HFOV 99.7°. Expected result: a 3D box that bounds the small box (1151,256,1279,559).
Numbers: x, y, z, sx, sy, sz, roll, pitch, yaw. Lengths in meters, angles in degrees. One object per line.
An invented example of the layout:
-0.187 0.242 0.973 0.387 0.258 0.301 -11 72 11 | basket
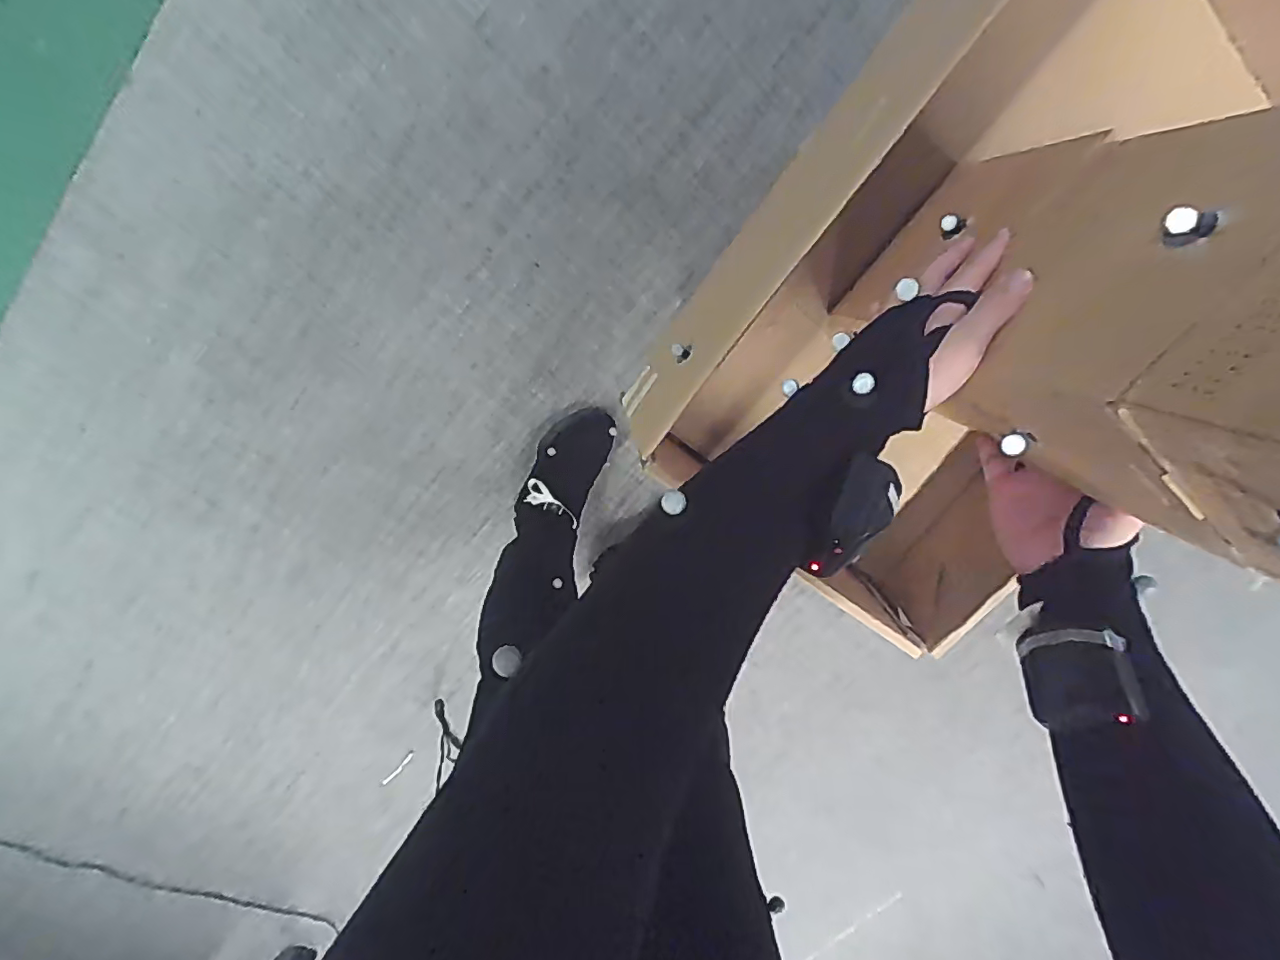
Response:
0.352 -0.032 0.183 0.168 0.176 0.179 34 105 -19 | small box

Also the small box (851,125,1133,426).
0.318 -0.162 0.482 0.168 0.176 0.179 36 104 -19 | small box

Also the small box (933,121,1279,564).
0.332 -0.090 0.333 0.168 0.176 0.179 35 104 -18 | small box
